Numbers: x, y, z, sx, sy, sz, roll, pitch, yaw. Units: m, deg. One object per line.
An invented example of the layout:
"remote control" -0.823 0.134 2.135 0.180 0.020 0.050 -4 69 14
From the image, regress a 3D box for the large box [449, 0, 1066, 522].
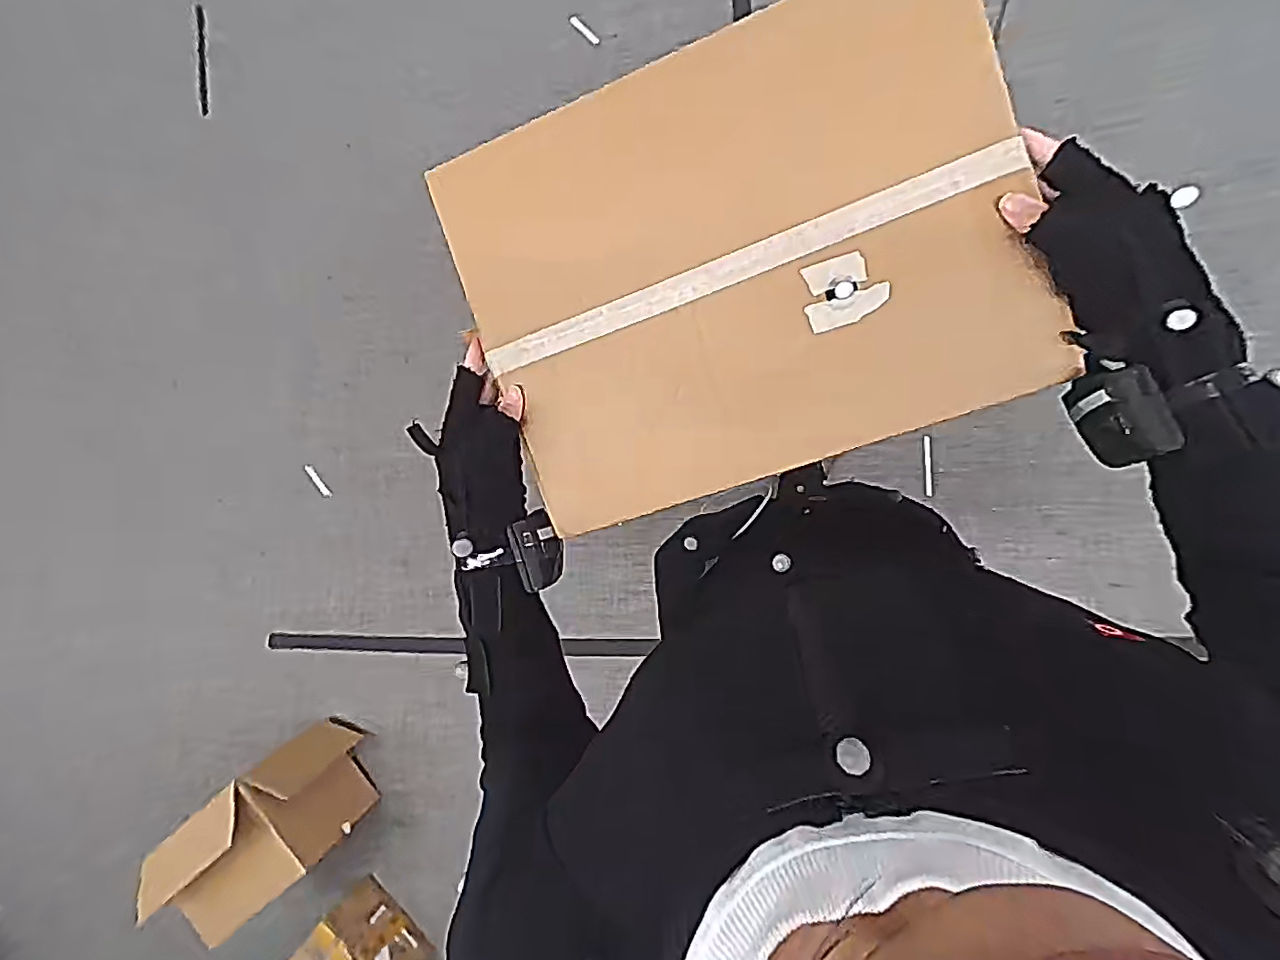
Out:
"large box" 0.096 -0.186 0.559 0.408 0.320 0.320 -18 95 10
